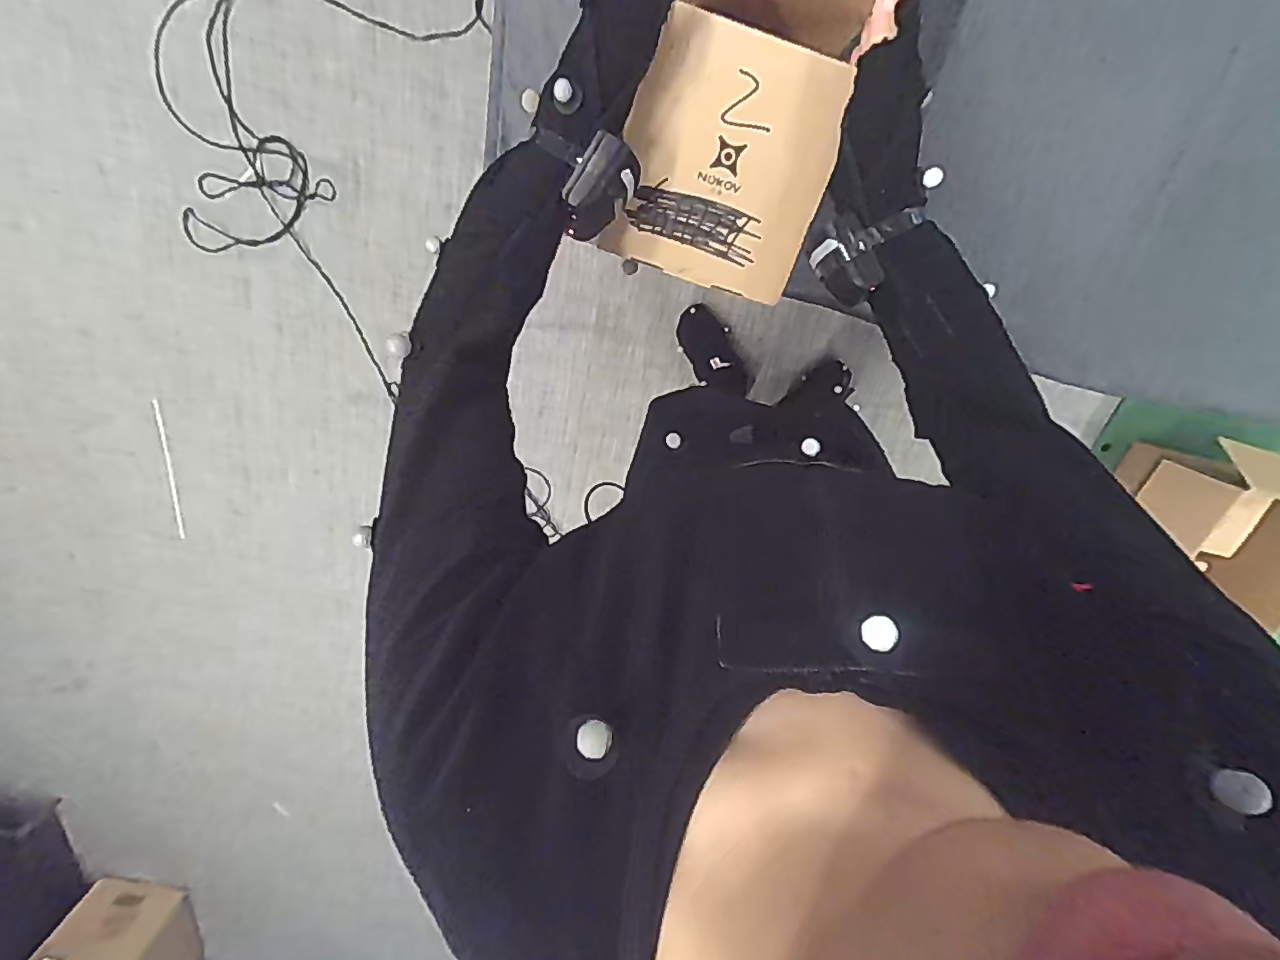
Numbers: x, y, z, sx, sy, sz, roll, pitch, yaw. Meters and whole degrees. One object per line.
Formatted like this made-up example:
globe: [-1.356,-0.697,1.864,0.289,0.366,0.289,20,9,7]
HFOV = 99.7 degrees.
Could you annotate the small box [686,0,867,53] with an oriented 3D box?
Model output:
small box: [0.124,-0.473,0.411,0.168,0.176,0.179,14,109,-5]
